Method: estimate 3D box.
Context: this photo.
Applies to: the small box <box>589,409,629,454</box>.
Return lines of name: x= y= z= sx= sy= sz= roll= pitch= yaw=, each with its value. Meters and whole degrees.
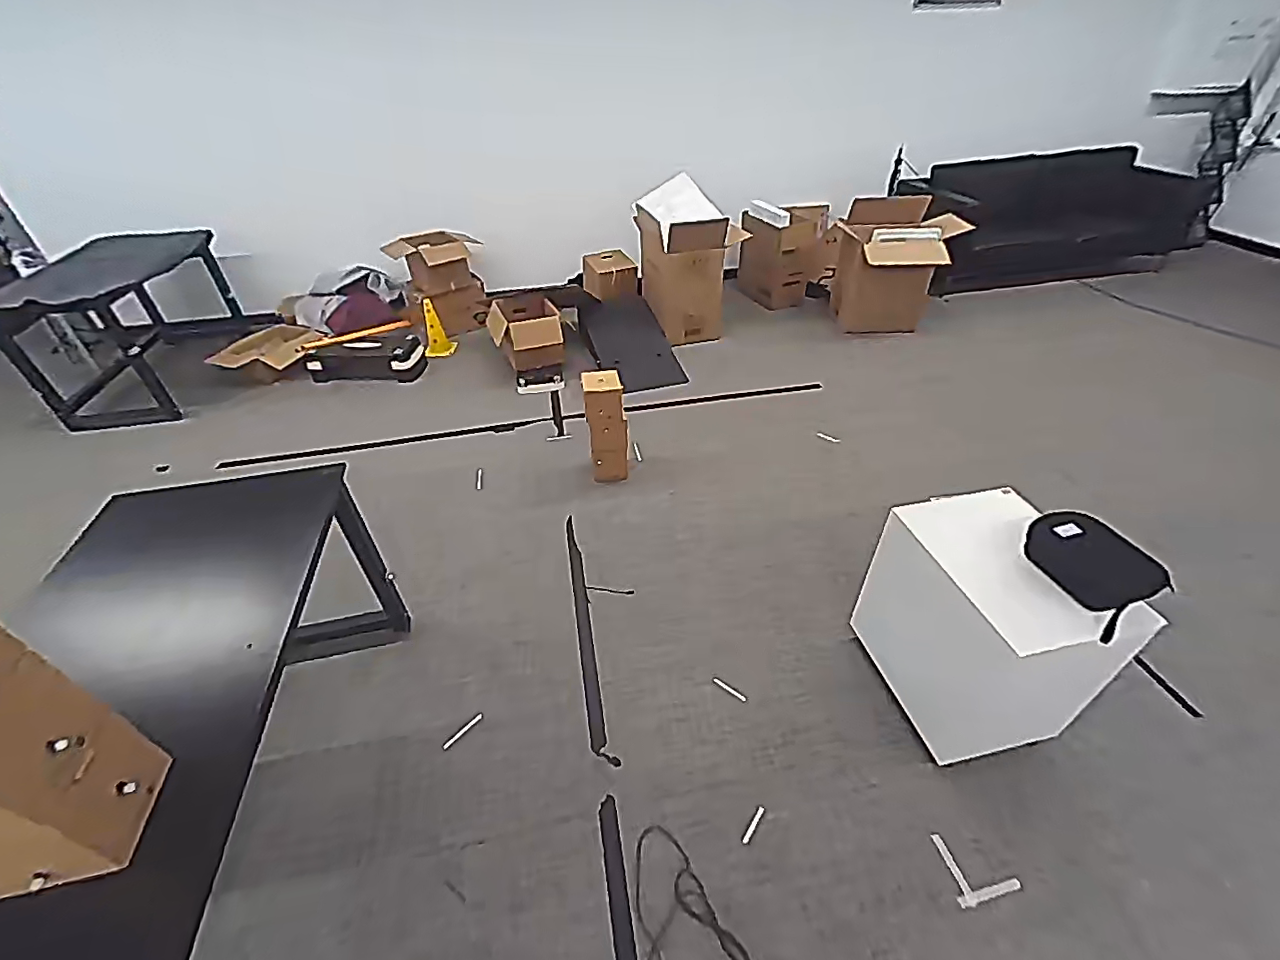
small box: x=-0.148 y=-0.233 z=2.539 sx=0.179 sy=0.176 sz=0.168 roll=-7 pitch=39 yaw=-9

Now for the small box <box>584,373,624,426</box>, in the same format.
small box: x=-0.162 y=-0.363 z=2.441 sx=0.168 sy=0.176 sz=0.179 roll=-6 pitch=40 yaw=-7

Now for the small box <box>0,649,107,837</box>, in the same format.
small box: x=-0.867 y=0.348 z=0.691 sx=0.179 sy=0.176 sz=0.168 roll=-9 pitch=40 yaw=-9

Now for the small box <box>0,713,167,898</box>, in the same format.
small box: x=-0.860 y=0.476 z=0.795 sx=0.179 sy=0.176 sz=0.168 roll=-9 pitch=39 yaw=-10
